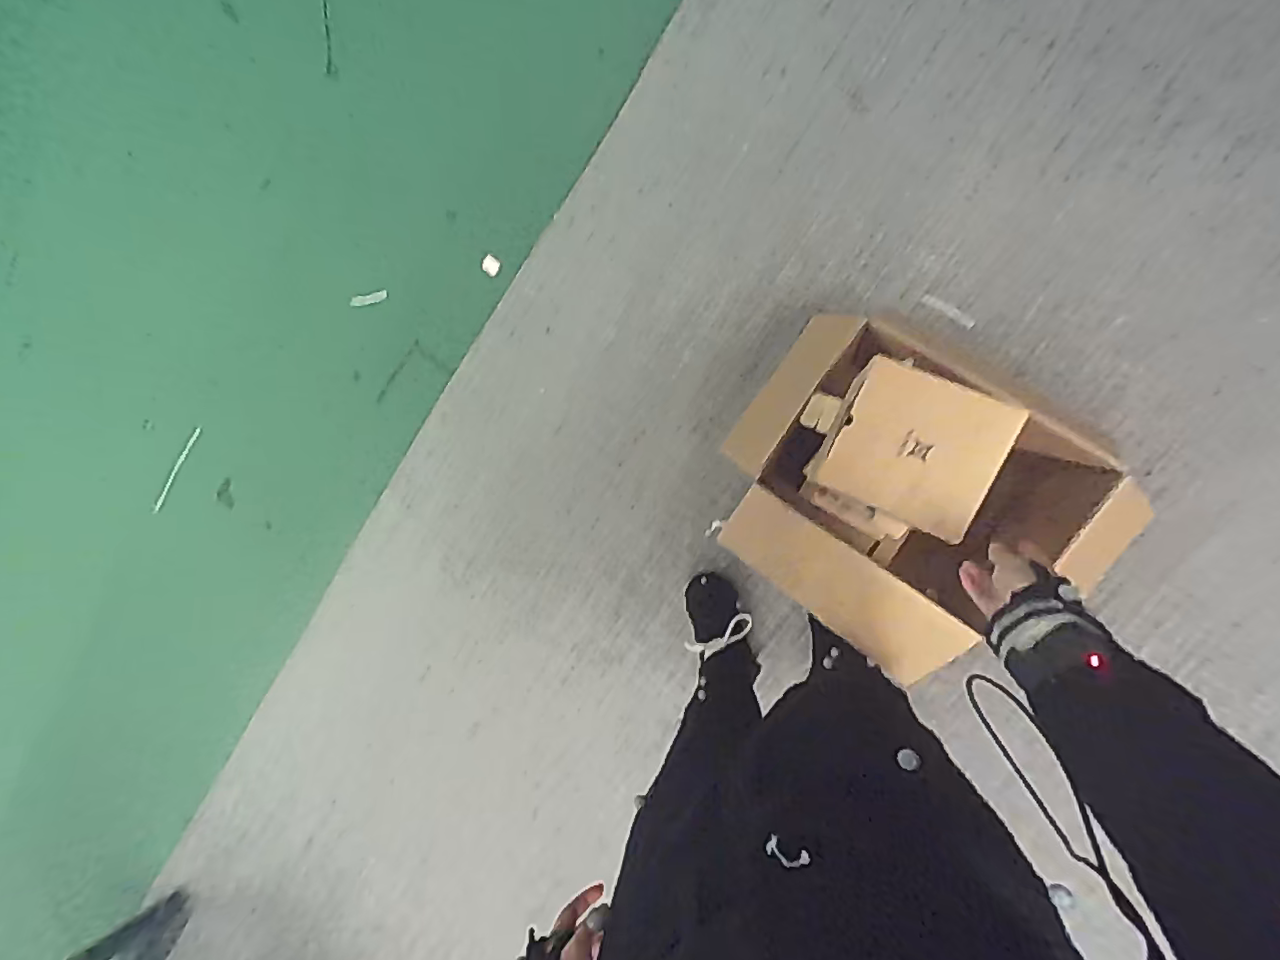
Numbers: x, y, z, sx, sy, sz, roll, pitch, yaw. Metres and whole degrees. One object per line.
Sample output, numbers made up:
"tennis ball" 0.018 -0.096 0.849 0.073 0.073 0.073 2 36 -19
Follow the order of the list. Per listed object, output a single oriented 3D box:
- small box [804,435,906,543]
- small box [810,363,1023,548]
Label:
"small box" 0.377 -0.027 0.863 0.168 0.176 0.179 39 101 11
"small box" 0.339 -0.033 0.705 0.179 0.176 0.168 26 97 14
